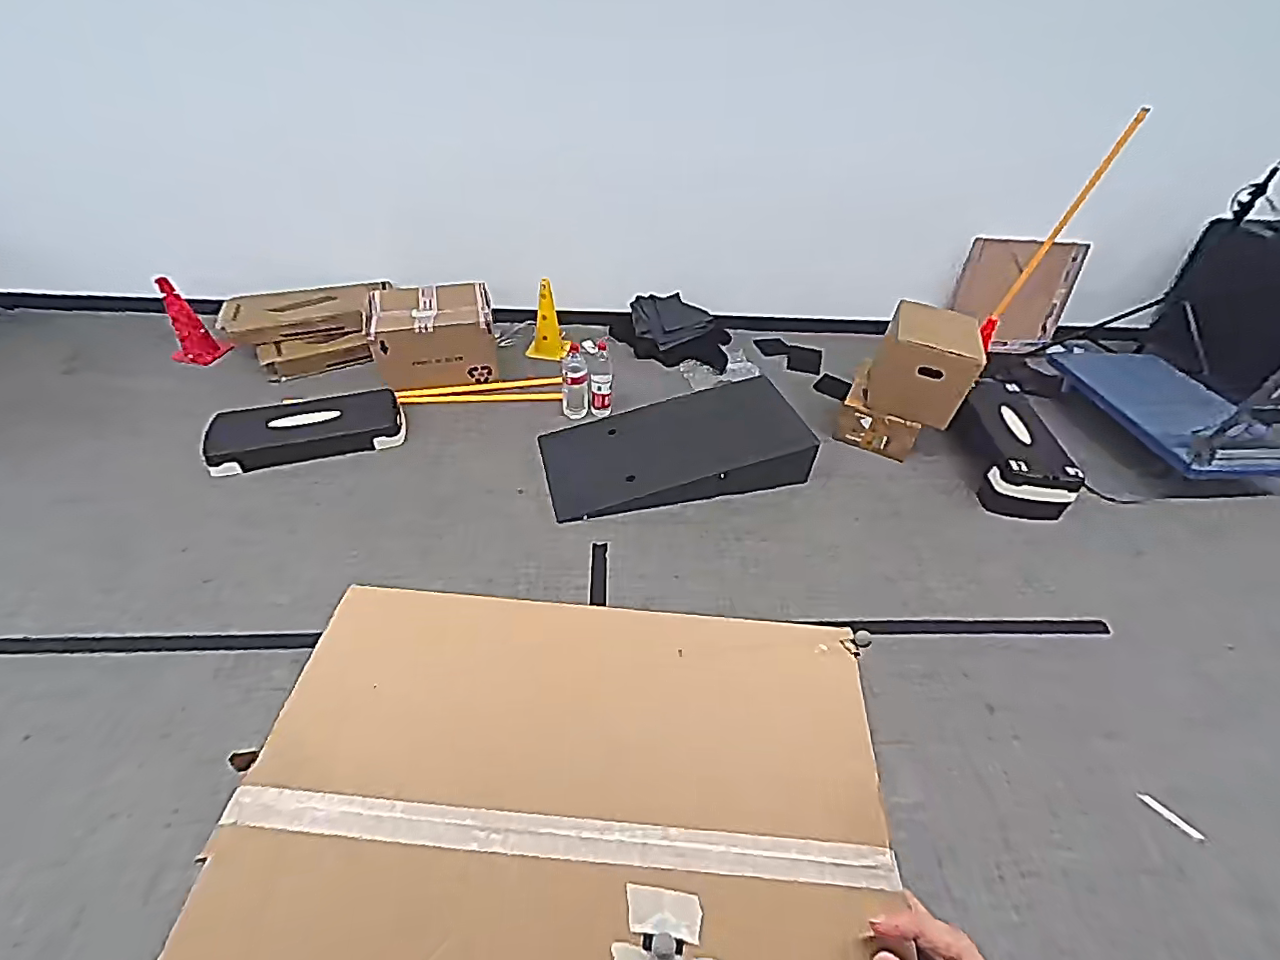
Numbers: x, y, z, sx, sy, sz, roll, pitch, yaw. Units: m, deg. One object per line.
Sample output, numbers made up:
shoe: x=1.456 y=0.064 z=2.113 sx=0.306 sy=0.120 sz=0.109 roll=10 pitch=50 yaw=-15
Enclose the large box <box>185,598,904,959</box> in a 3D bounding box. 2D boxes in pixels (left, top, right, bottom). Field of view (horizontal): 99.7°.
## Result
large box: x=-0.051 y=0.322 z=0.448 sx=0.408 sy=0.320 sz=0.320 roll=5 pitch=49 yaw=2
